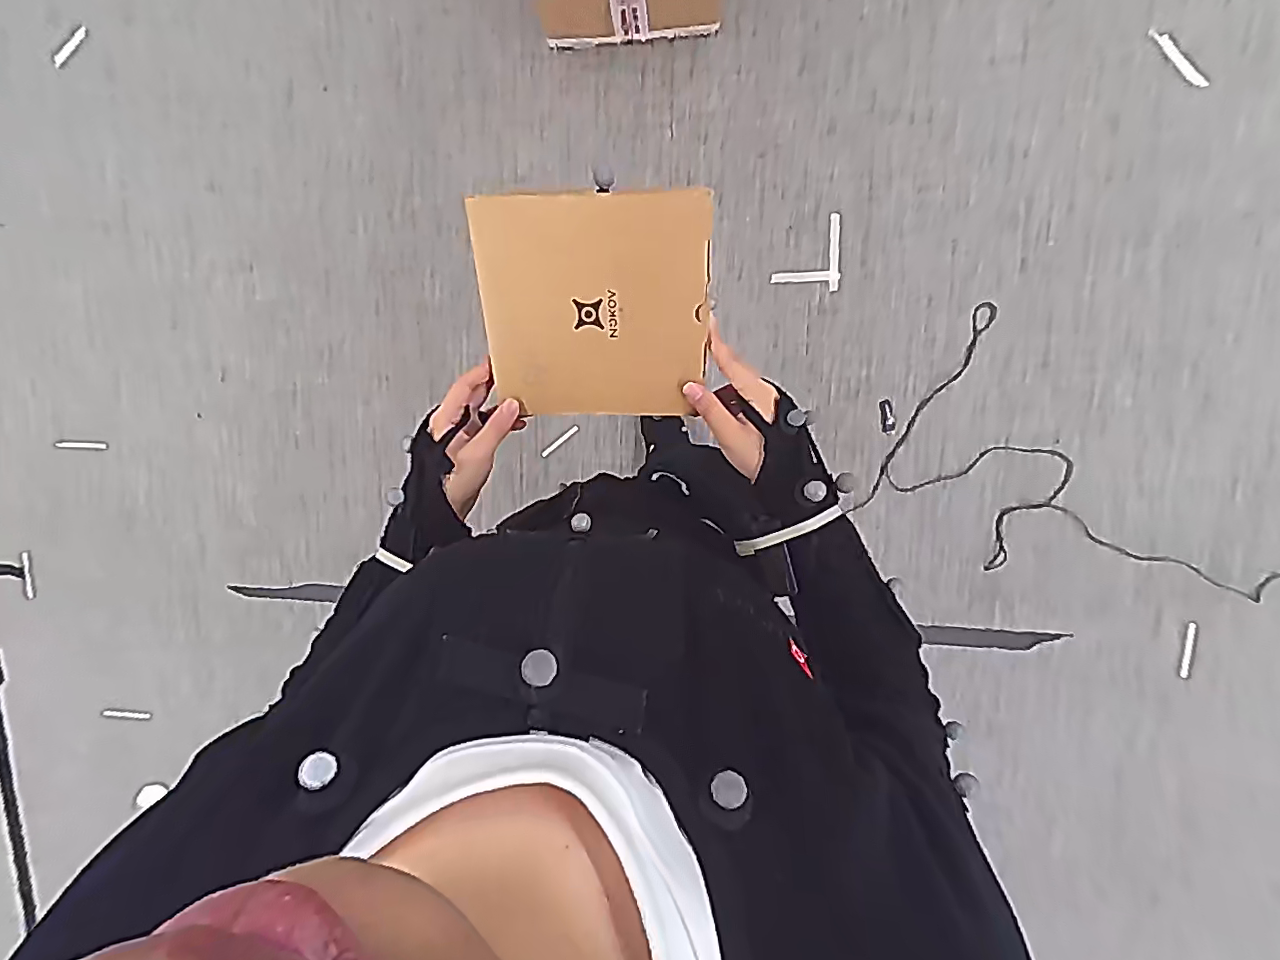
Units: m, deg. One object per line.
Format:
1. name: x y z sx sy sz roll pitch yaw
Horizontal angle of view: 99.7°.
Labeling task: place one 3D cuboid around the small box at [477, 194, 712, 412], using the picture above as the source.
1. small box: -0.029 -0.168 0.498 0.179 0.176 0.168 1 118 3
